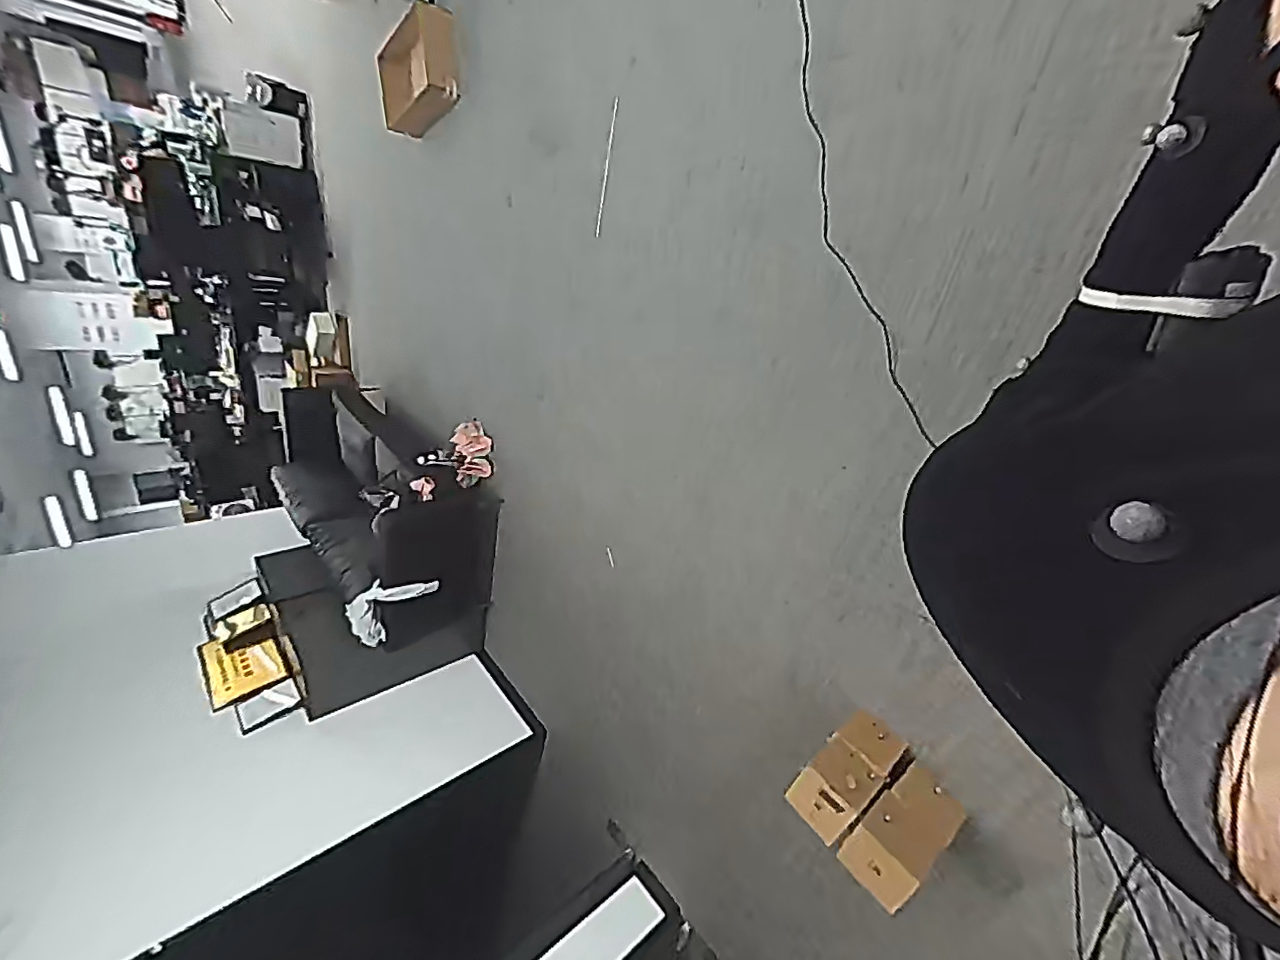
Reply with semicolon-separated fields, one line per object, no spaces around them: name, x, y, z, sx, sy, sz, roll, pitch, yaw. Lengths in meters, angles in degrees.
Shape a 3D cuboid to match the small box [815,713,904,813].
small box;0.676;0.859;1.656;0.168;0.176;0.179;35;123;37
